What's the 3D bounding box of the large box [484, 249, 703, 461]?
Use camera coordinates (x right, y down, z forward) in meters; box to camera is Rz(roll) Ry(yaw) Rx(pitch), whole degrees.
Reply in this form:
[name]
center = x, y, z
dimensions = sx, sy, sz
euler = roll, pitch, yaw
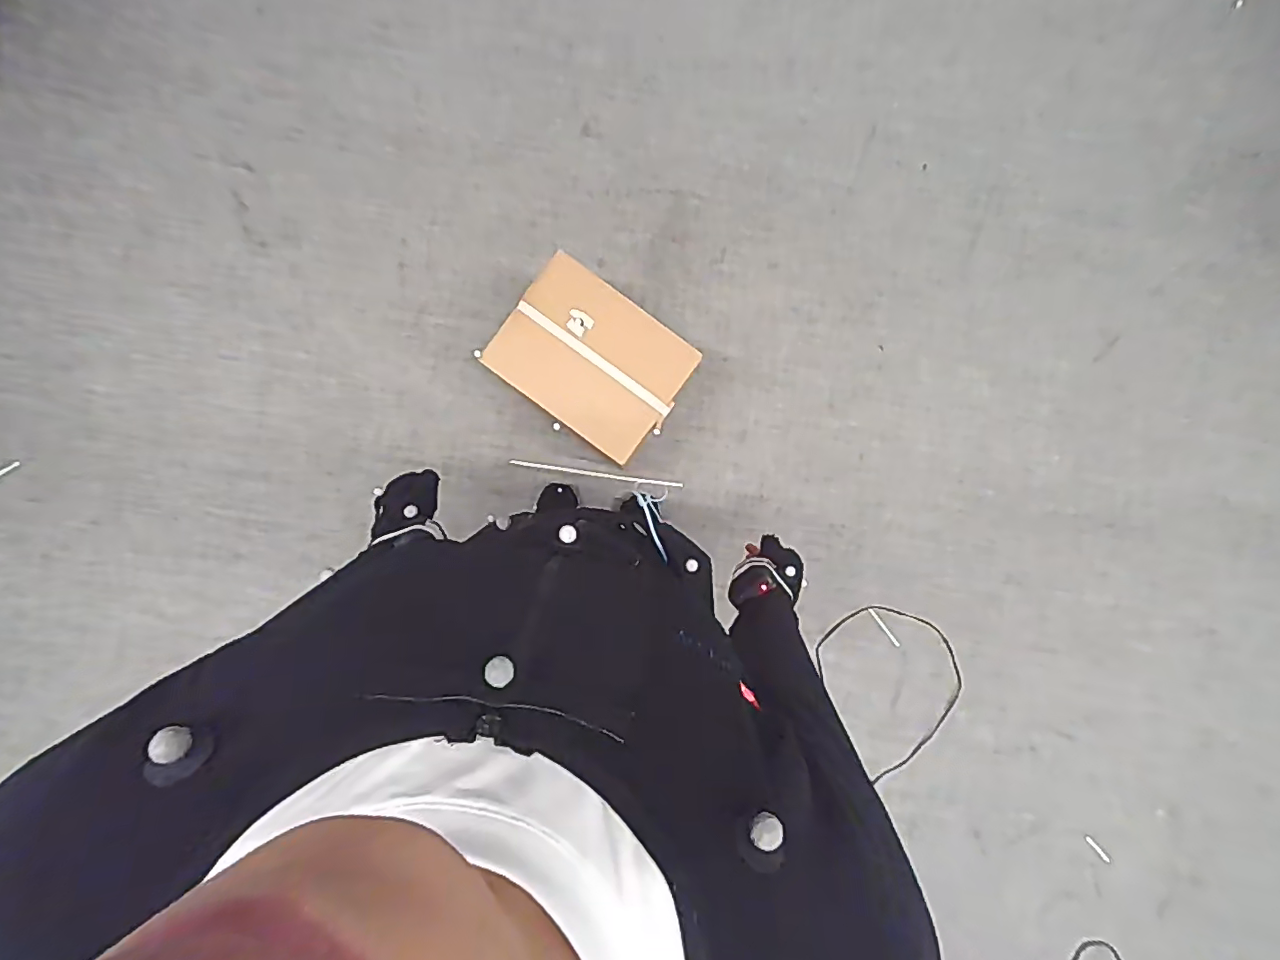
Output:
[large box]
center = -0.103, -0.283, 1.357
dimensions = 0.408, 0.320, 0.320
euler = 36, 88, -1
